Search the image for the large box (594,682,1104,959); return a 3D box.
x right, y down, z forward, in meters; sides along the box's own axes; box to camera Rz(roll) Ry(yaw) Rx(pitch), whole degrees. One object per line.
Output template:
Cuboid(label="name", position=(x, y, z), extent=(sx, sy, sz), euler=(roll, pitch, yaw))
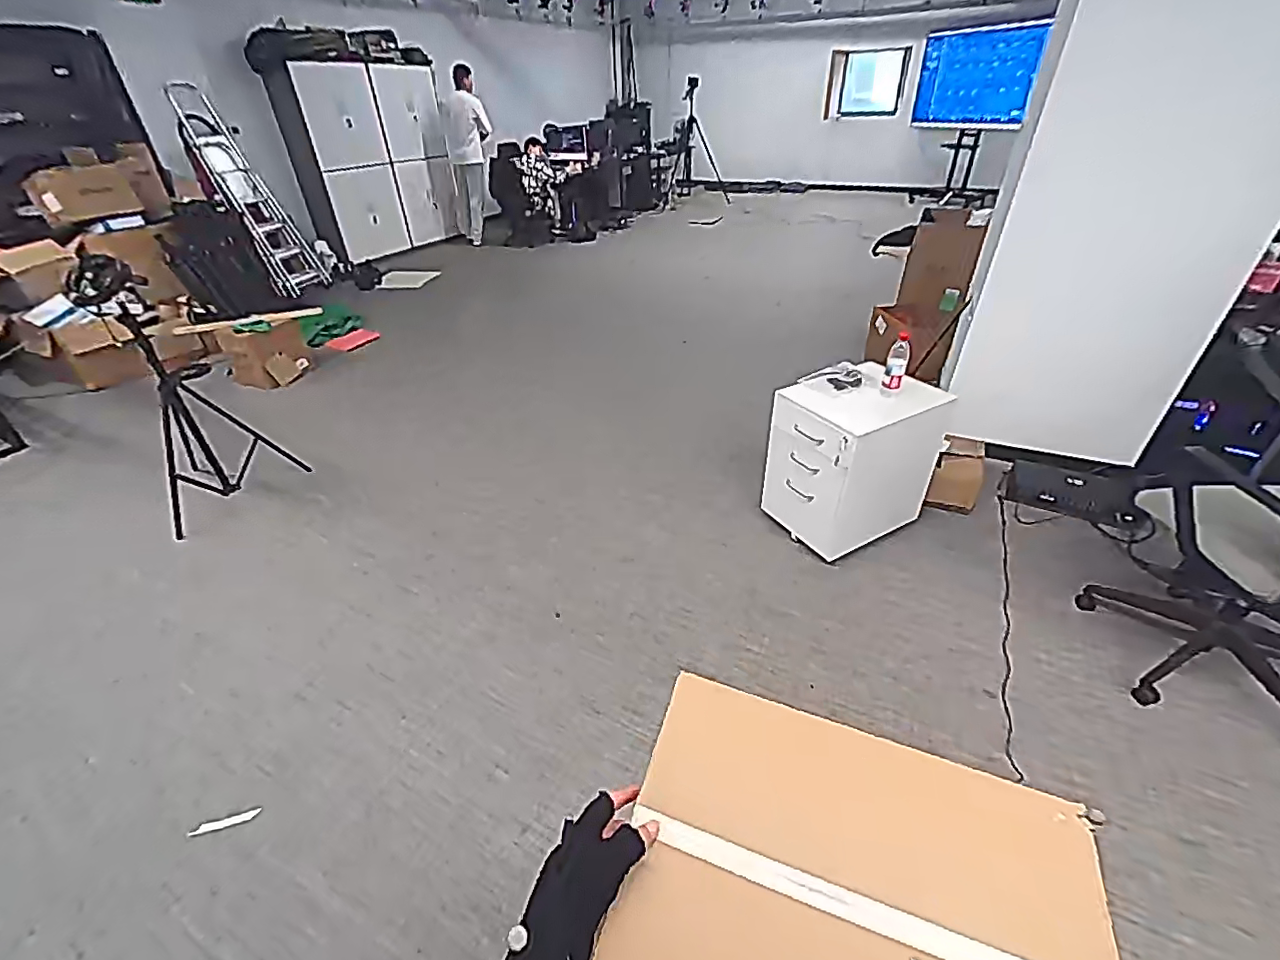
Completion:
Cuboid(label="large box", position=(0.183, 0.482, 0.574), extent=(0.408, 0.320, 0.320), euler=(14, 46, 15))
